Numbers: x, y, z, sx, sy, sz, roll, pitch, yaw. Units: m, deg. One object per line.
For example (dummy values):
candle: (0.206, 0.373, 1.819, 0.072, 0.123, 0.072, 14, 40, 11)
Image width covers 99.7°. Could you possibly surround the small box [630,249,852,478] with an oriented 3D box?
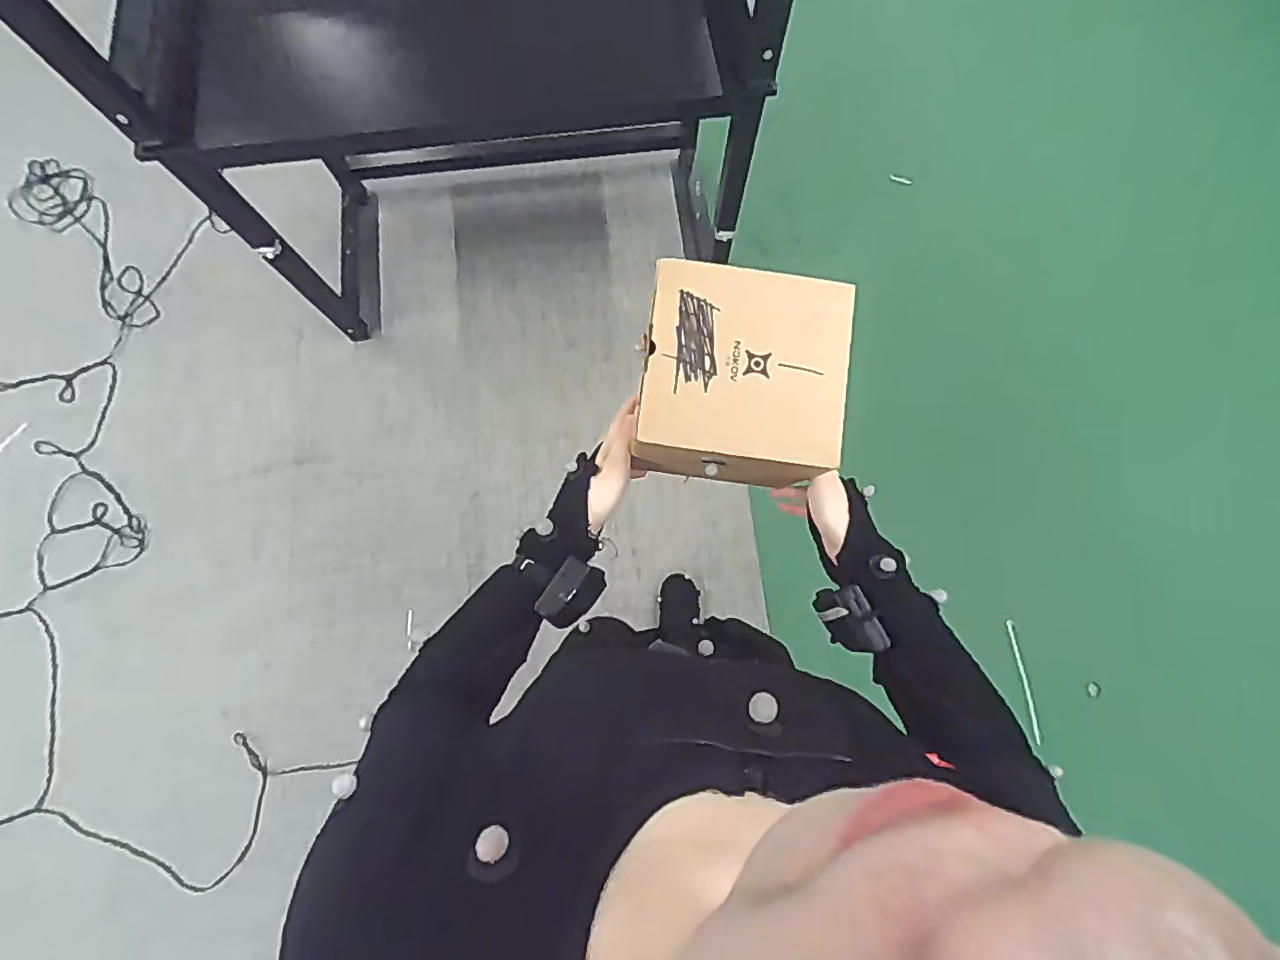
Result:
small box: (0.085, -0.099, 0.537, 0.179, 0.176, 0.168, 8, 83, -2)
